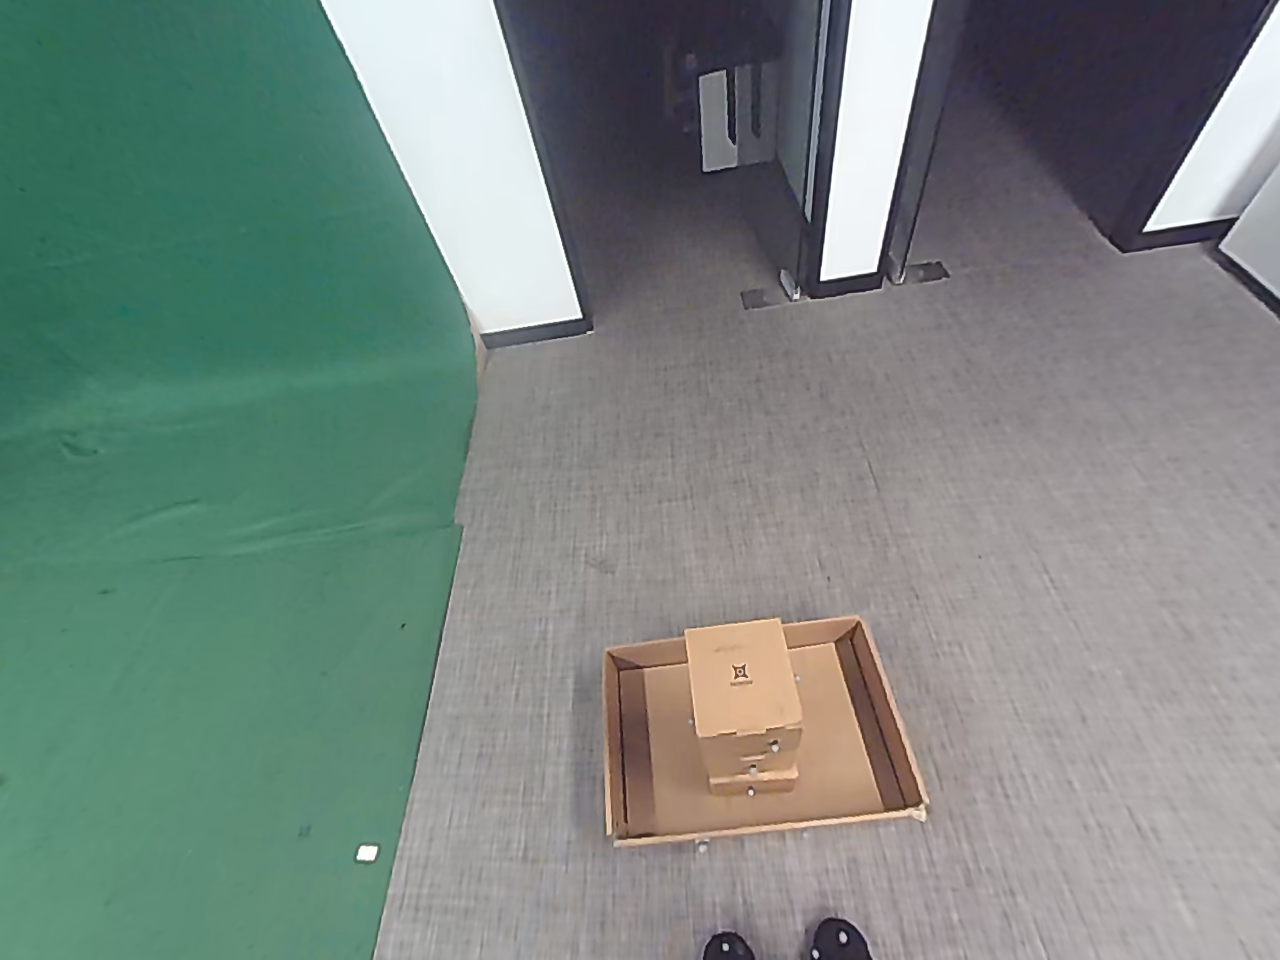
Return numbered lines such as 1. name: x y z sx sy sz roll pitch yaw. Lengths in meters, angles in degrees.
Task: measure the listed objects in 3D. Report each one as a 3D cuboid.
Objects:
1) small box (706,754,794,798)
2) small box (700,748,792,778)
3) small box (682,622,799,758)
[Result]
1. small box: 0.232 0.589 1.186 0.179 0.176 0.168 -7 50 7
2. small box: 0.199 0.479 1.074 0.168 0.176 0.179 -11 50 4
3. small box: 0.169 0.368 0.933 0.168 0.176 0.179 -8 50 4
